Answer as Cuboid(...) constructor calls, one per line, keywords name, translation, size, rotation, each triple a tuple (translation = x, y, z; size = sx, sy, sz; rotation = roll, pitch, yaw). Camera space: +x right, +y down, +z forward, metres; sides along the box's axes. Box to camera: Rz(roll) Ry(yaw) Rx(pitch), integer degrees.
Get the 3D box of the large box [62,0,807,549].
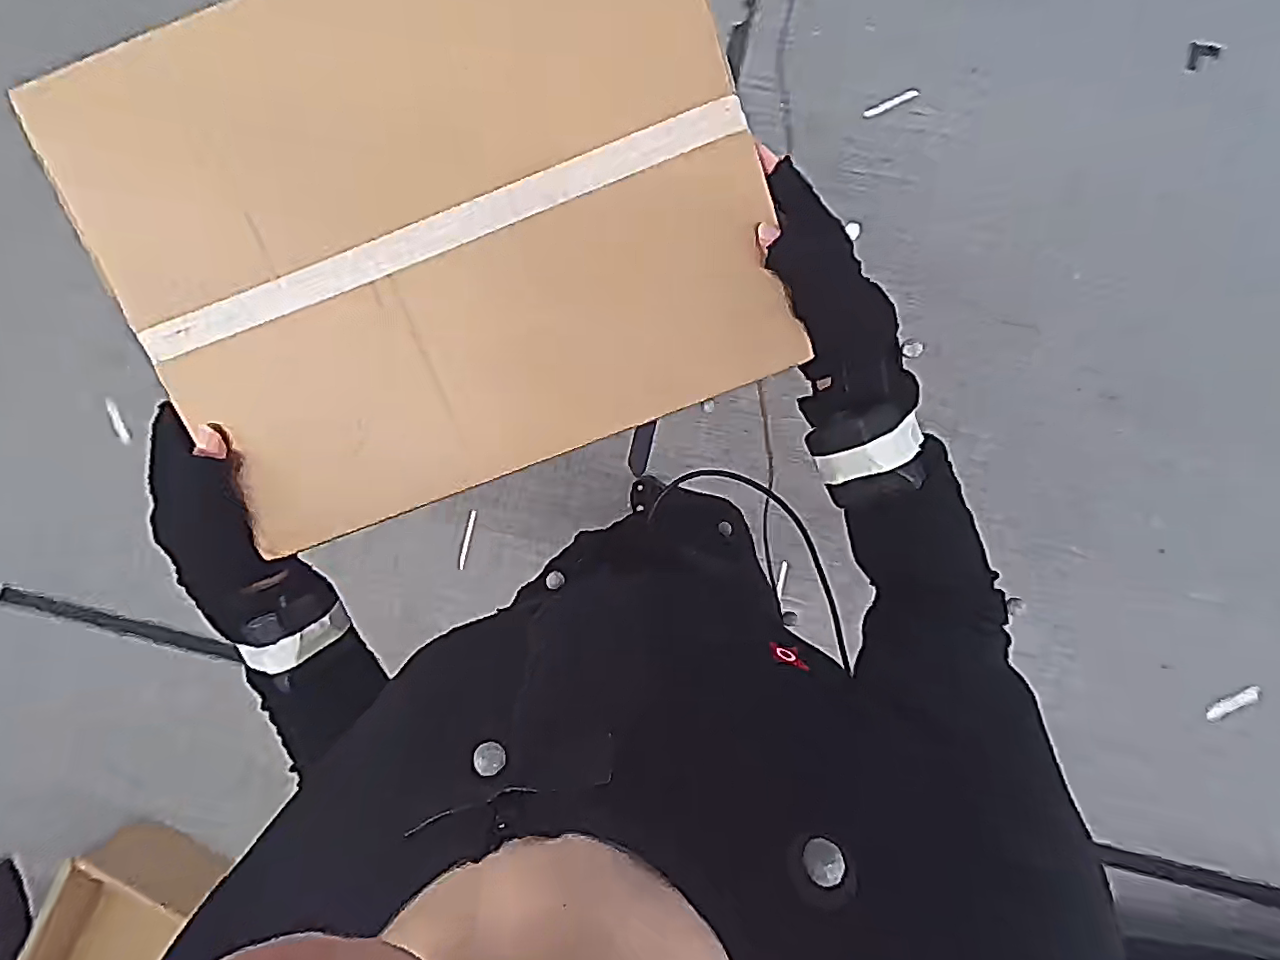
Cuboid(name="large box", translation=(-0.122, -0.187, 0.496), size=(0.408, 0.320, 0.320), rotation=(-19, 101, 3))
